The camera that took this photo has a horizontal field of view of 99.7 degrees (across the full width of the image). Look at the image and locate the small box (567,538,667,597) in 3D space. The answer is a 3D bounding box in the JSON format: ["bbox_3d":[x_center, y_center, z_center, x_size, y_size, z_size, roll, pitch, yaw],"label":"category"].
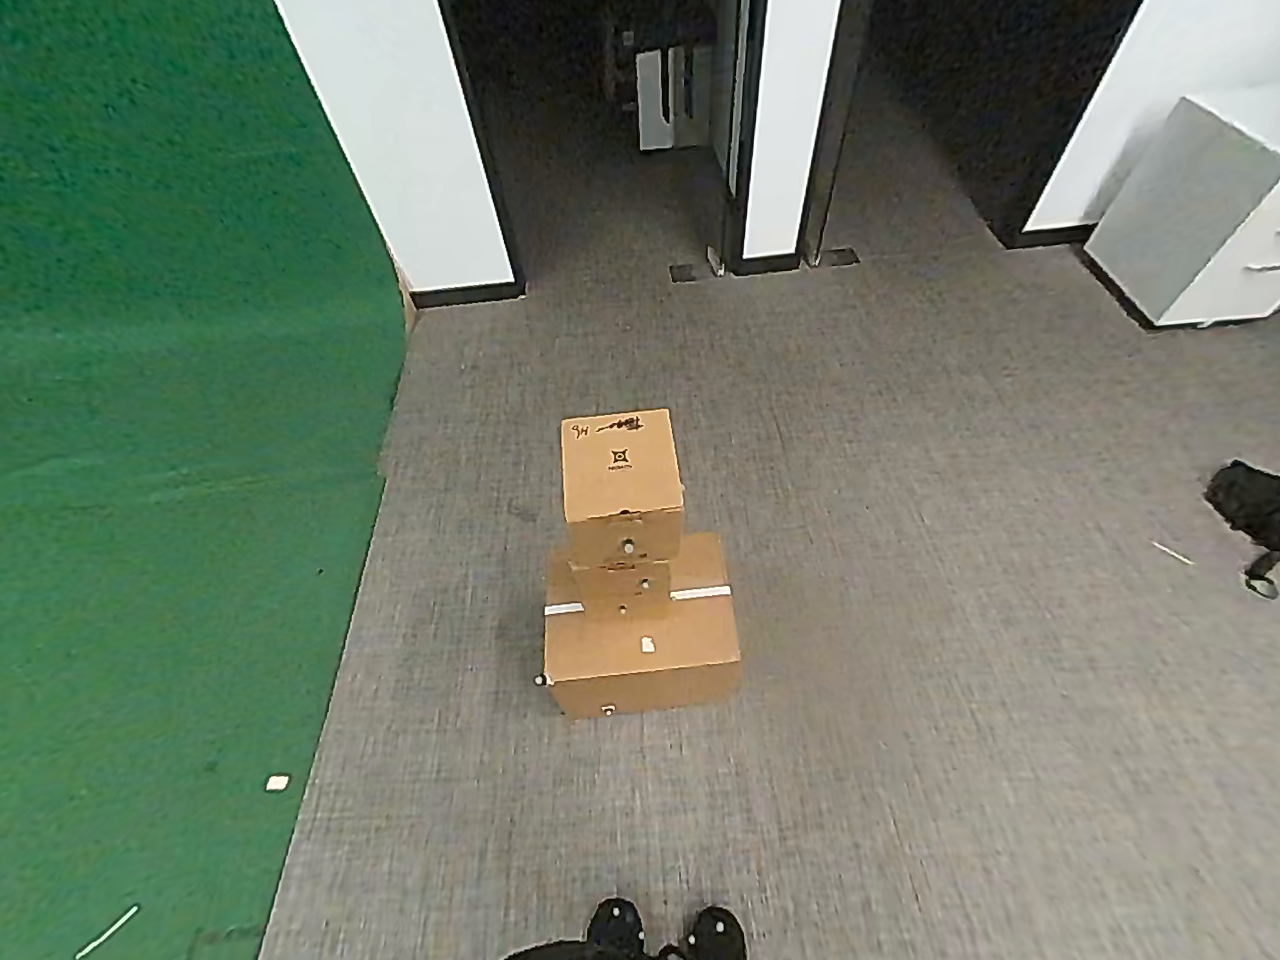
[{"bbox_3d":[-0.041,0.107,0.990,0.168,0.176,0.179,-6,59,-1],"label":"small box"}]

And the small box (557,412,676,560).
[{"bbox_3d":[-0.033,0.019,0.852,0.168,0.176,0.179,-6,60,-1],"label":"small box"}]

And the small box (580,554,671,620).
[{"bbox_3d":[-0.031,0.187,1.130,0.179,0.176,0.168,-6,60,-1],"label":"small box"}]
